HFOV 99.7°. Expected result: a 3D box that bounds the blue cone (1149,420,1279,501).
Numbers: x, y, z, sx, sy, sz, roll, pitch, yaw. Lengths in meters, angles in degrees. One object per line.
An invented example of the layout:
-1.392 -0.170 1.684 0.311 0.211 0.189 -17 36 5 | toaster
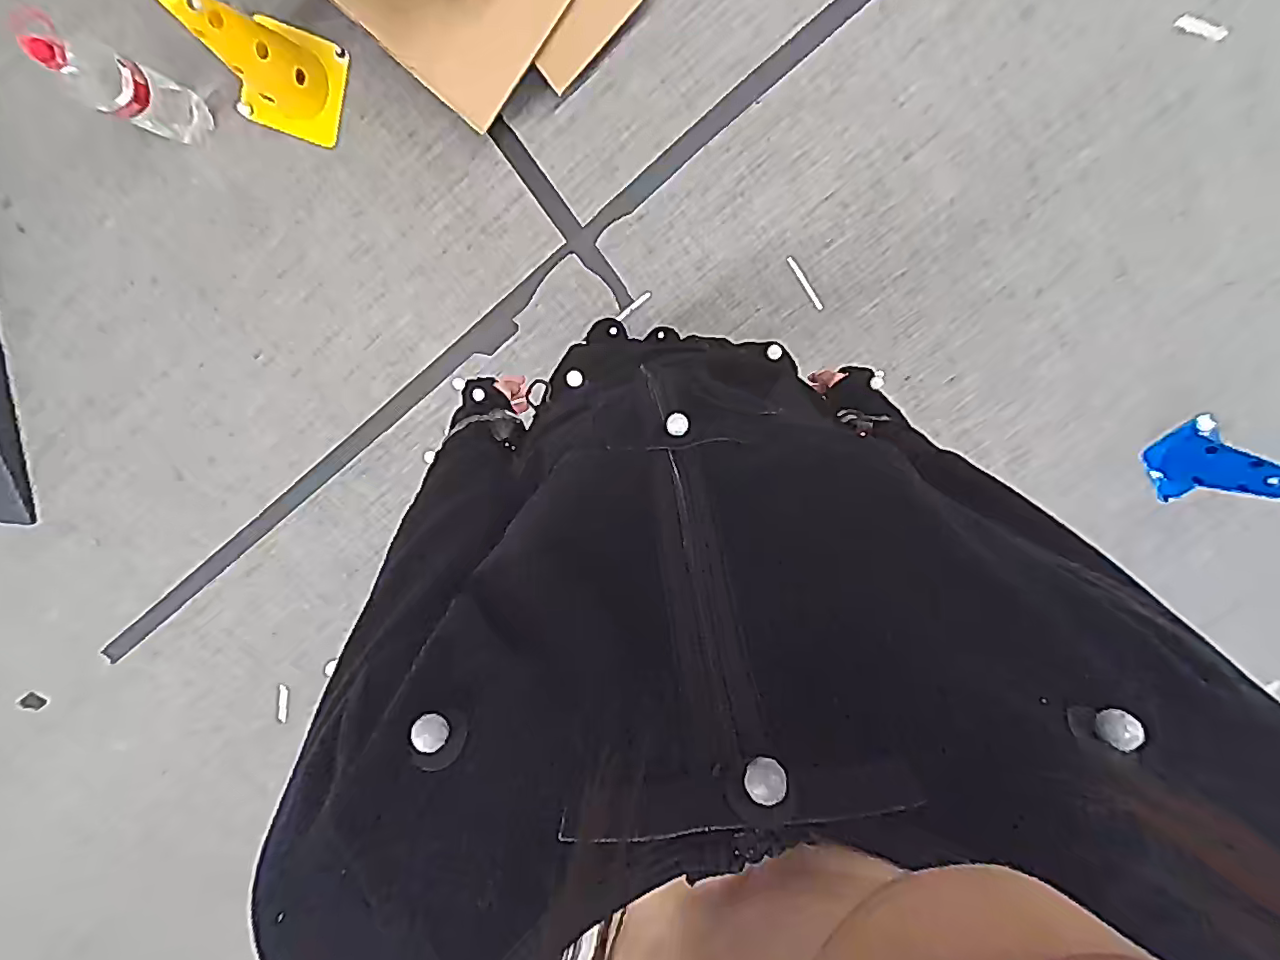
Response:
1.545 -0.006 1.361 0.193 0.380 0.192 -33 106 7 | blue cone
